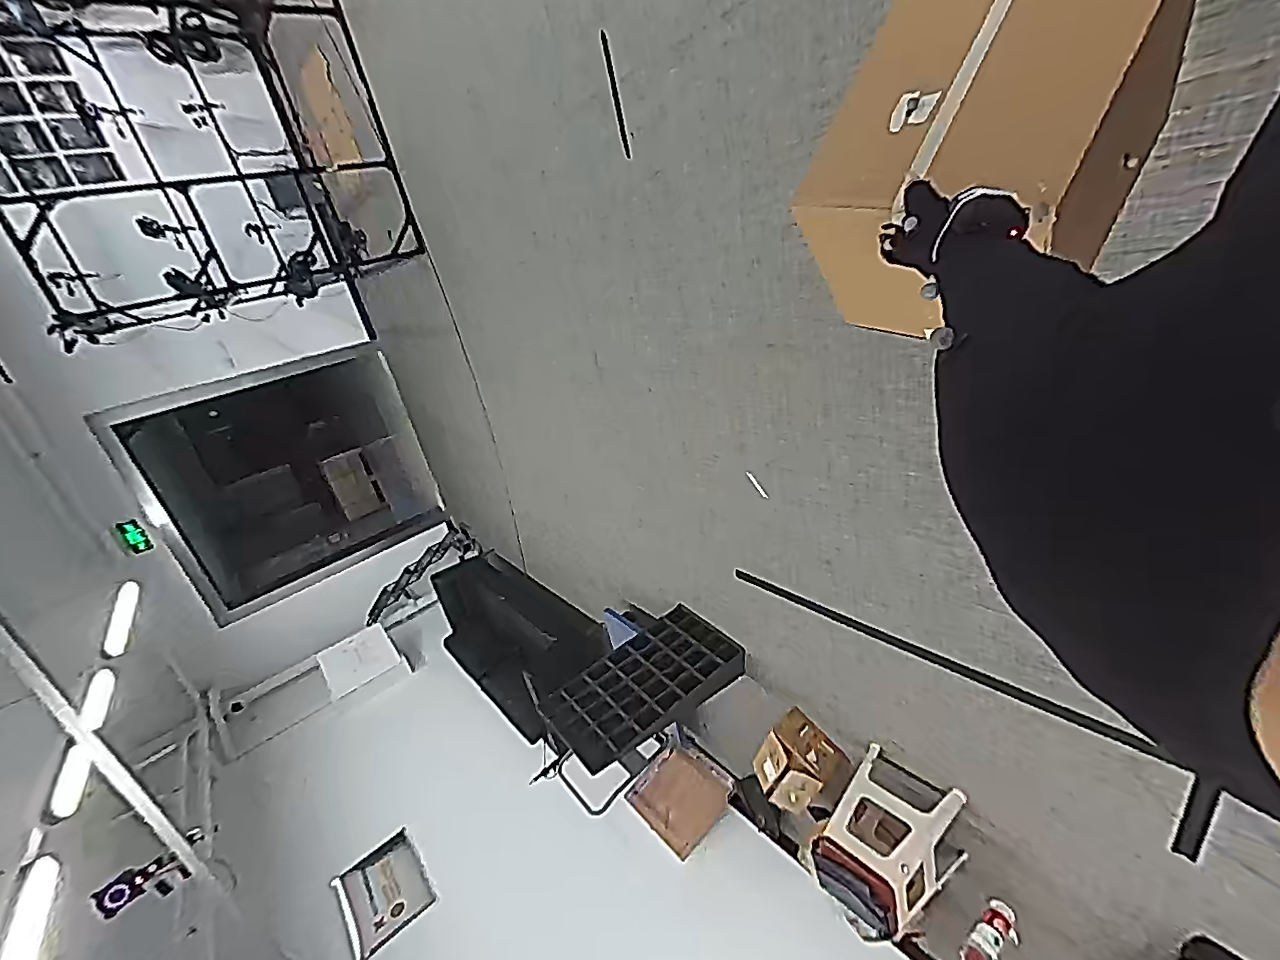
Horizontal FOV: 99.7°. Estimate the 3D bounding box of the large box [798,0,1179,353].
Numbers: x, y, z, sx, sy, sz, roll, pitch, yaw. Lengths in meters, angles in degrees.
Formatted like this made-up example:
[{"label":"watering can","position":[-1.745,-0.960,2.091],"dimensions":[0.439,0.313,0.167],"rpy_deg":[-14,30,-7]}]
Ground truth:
[{"label":"large box","position":[0.497,-0.456,0.786],"dimensions":[0.320,0.408,0.320],"rpy_deg":[26,179,41]}]
